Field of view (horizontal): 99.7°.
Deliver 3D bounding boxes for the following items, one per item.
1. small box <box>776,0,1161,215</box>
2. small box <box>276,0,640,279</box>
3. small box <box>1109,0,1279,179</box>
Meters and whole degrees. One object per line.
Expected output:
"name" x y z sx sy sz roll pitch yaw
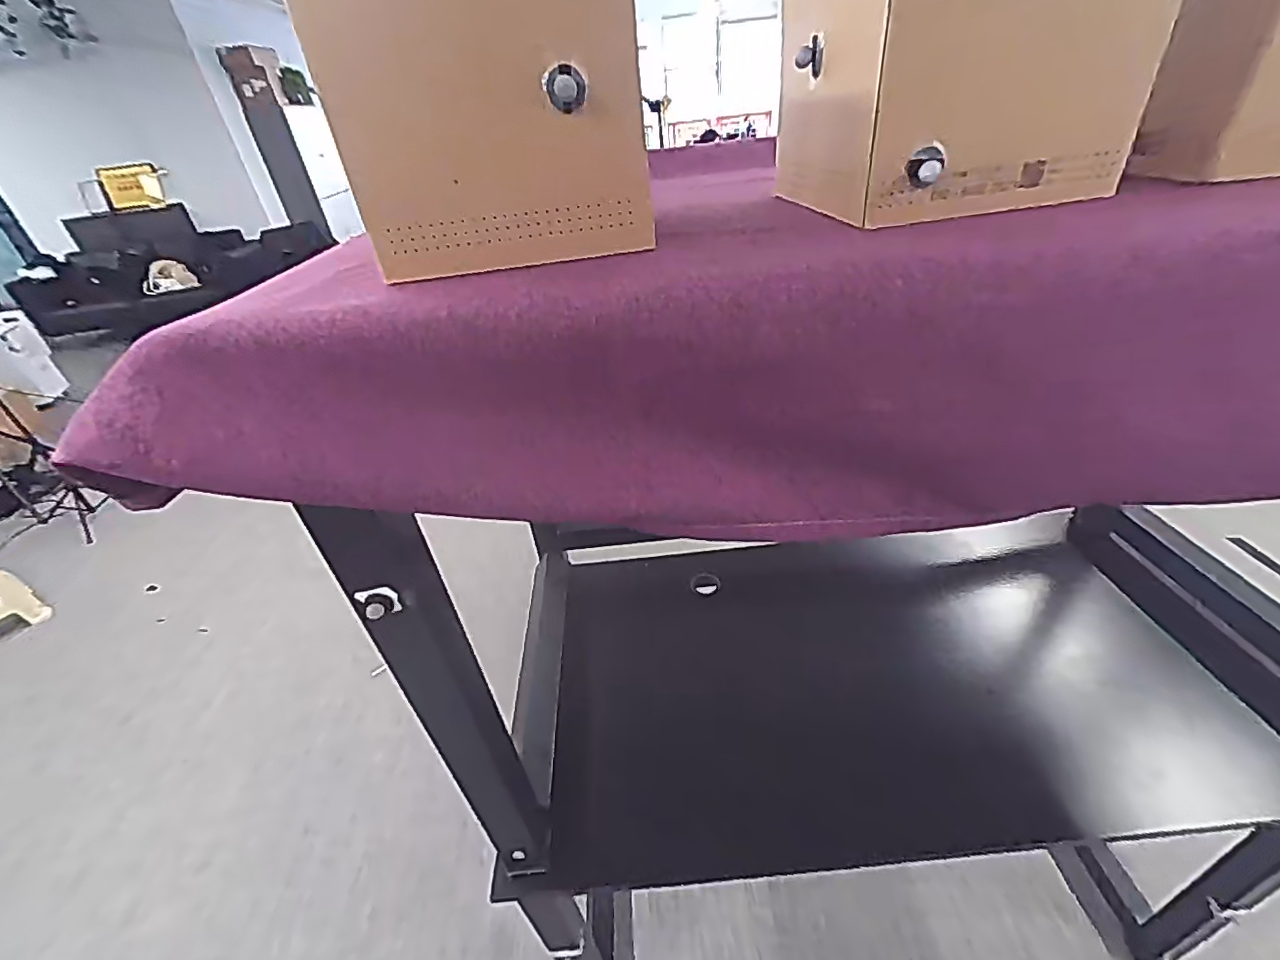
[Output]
"small box" 0.196 -0.282 0.358 0.168 0.176 0.179 -8 34 -2
"small box" -0.097 -0.246 0.359 0.179 0.176 0.168 -9 34 -4
"small box" 0.428 -0.306 0.351 0.179 0.176 0.168 -4 34 3
